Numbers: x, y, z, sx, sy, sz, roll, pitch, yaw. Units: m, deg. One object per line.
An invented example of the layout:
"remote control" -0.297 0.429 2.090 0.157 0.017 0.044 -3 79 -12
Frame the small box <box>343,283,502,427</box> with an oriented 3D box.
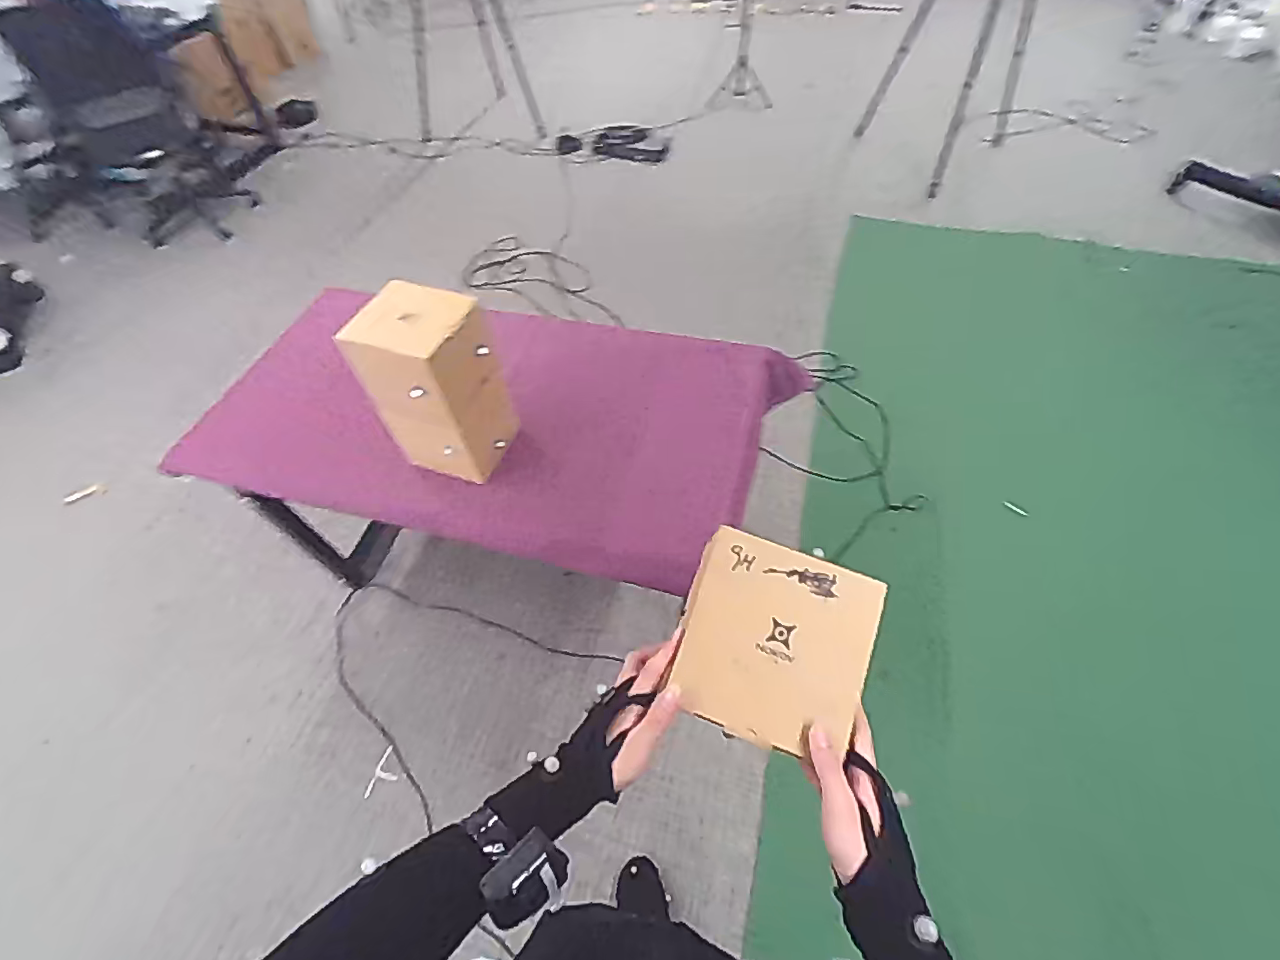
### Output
"small box" -0.369 -0.217 0.961 0.179 0.176 0.168 16 56 14
